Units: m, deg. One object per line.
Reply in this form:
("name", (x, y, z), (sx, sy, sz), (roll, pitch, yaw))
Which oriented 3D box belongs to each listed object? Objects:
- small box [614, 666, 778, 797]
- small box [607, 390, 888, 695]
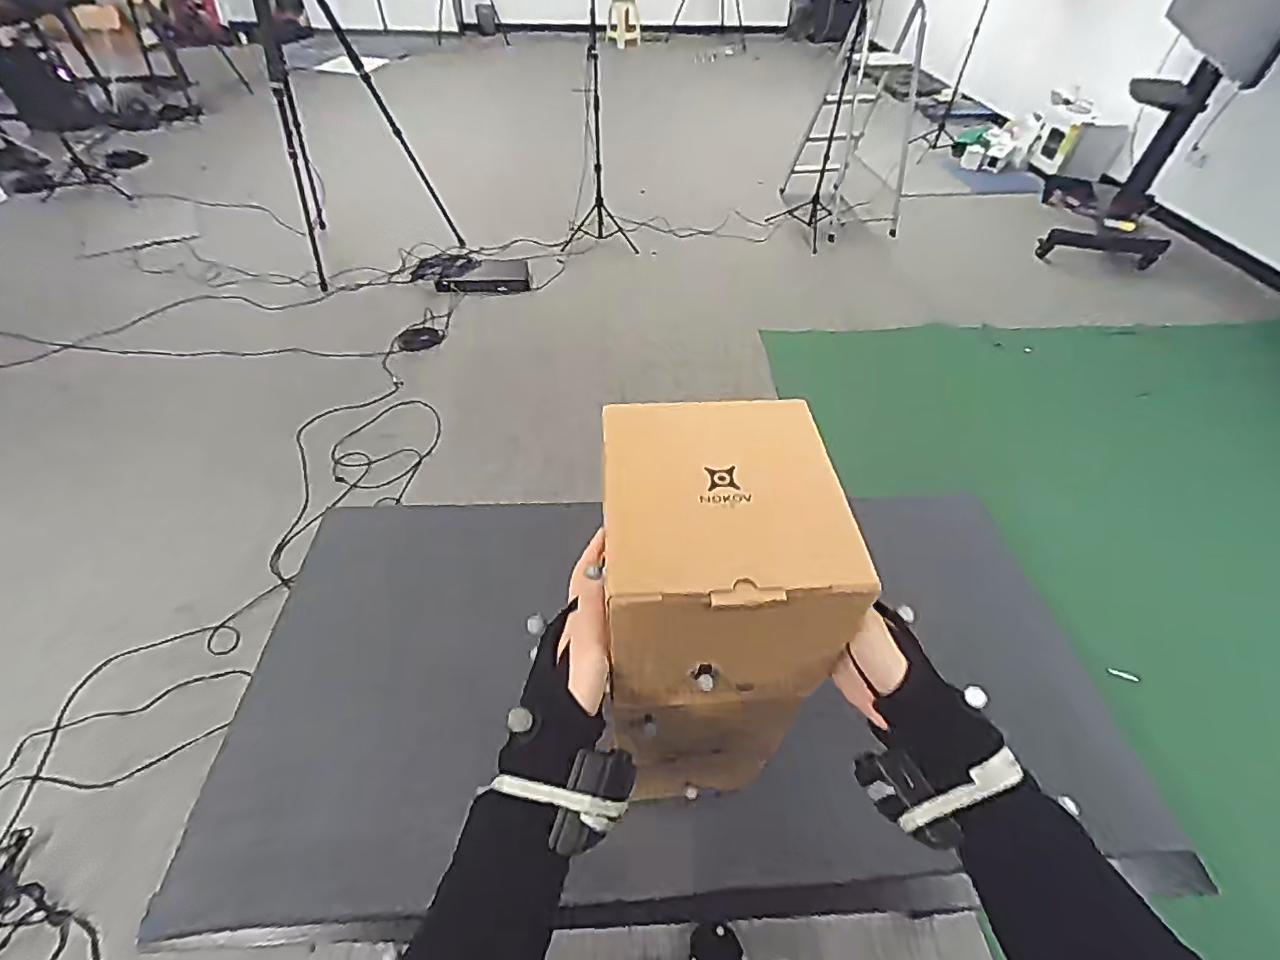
("small box", (0.054, 0.268, 0.668), (0.168, 0.176, 0.179), (-4, 47, -4))
("small box", (0.057, 0.048, 0.427), (0.168, 0.176, 0.179), (-2, 48, -4))
